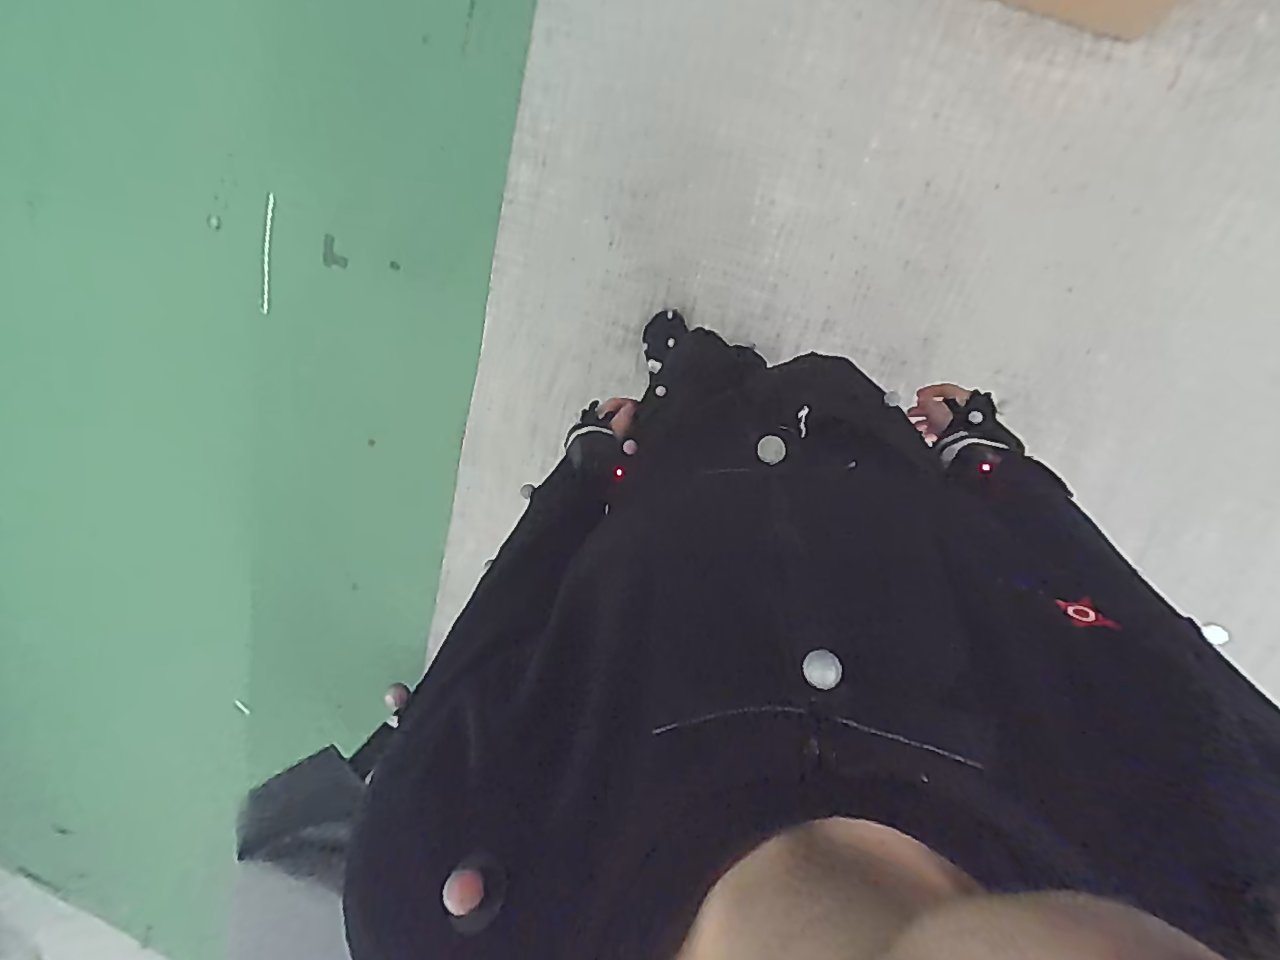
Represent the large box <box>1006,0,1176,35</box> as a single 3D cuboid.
[{"bbox_3d":[0.724,-0.967,0.808,0.408,0.320,0.320,22,110,5],"label":"large box"}]
